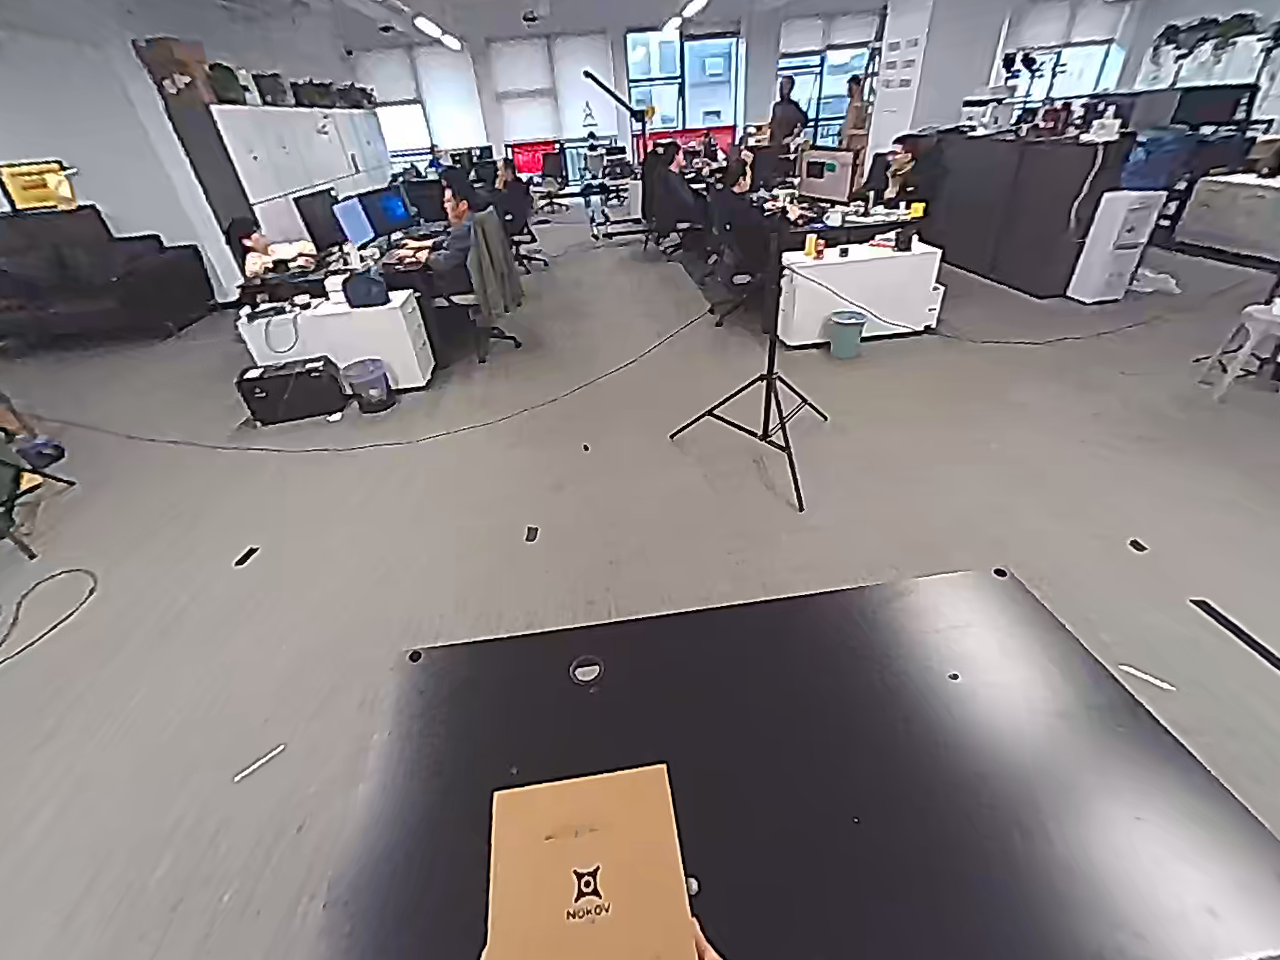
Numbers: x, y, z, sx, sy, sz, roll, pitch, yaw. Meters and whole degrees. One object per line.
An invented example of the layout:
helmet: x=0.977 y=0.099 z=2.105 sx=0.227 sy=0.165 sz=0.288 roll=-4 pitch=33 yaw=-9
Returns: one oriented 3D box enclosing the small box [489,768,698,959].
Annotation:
small box: x=-0.040 y=0.401 z=0.507 sx=0.168 sy=0.176 sz=0.179 roll=-6 pitch=44 yaw=-6
